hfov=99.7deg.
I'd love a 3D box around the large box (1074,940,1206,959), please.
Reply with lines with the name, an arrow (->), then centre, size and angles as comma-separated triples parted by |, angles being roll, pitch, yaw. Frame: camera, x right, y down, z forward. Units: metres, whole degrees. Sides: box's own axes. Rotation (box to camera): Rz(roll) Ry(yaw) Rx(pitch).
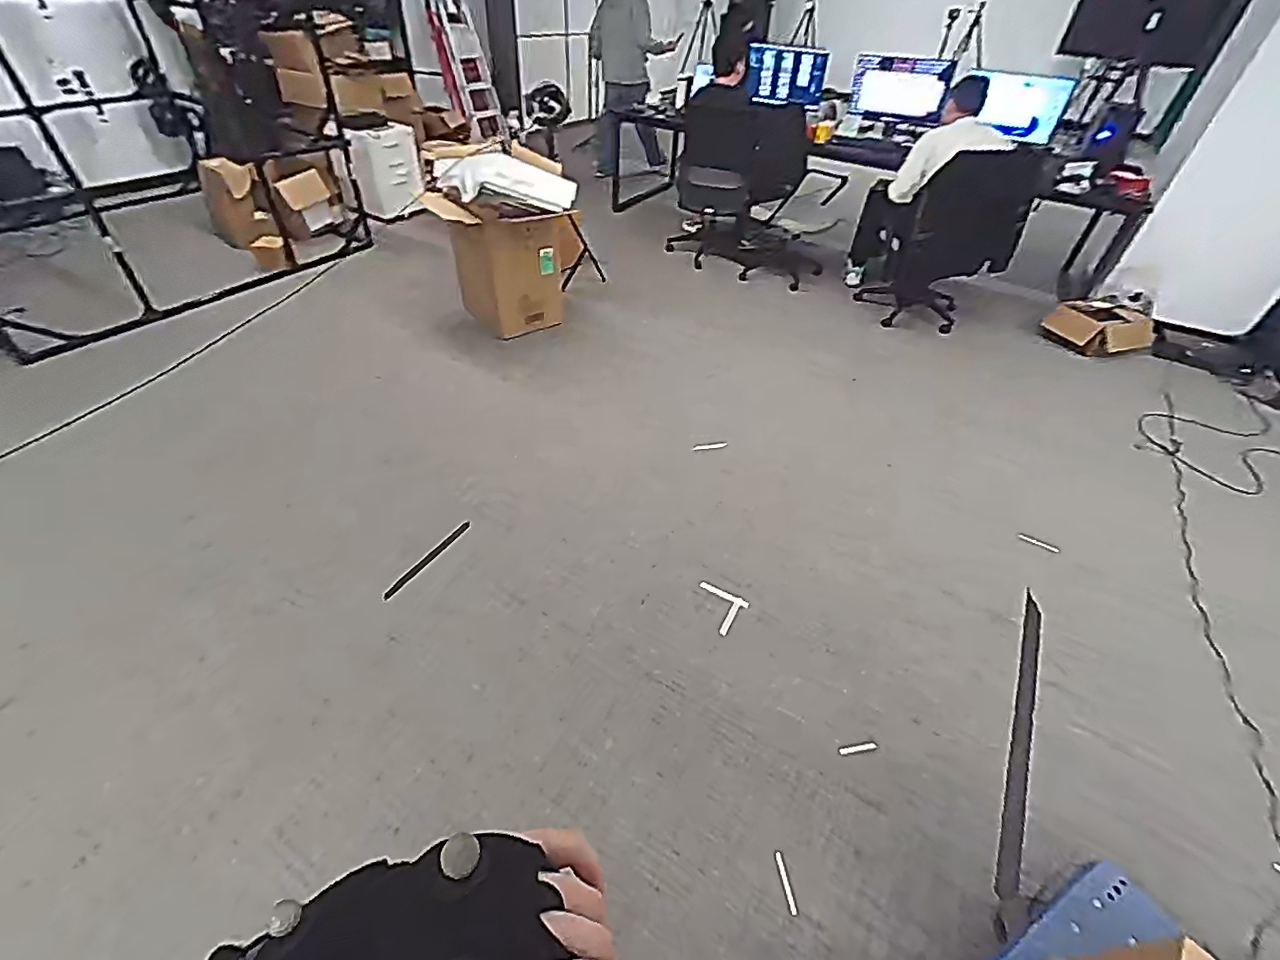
large box -> 0.829, 0.976, 0.749 | 0.320, 0.320, 0.408 | -29, 53, -30
